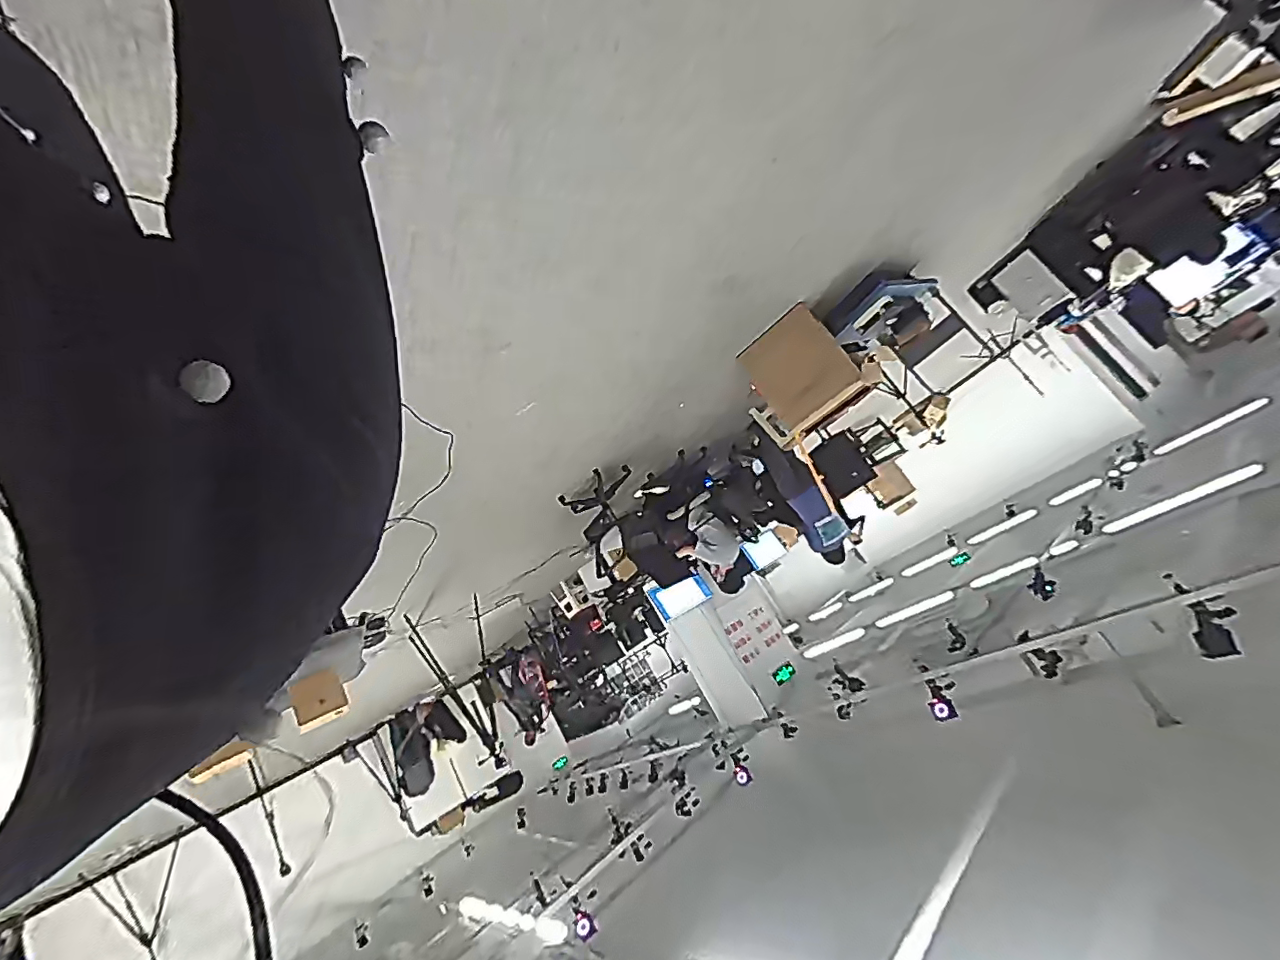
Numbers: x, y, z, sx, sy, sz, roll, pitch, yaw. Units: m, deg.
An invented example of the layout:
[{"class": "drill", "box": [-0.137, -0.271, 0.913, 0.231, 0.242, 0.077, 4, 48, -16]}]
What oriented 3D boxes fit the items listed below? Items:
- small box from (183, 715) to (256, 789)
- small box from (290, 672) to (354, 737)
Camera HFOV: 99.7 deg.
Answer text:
[{"class": "small box", "box": [-1.502, 0.969, 1.933, 0.168, 0.176, 0.179, -19, 159, -38]}, {"class": "small box", "box": [-1.257, 0.886, 2.141, 0.179, 0.176, 0.168, -19, 160, -35]}]
